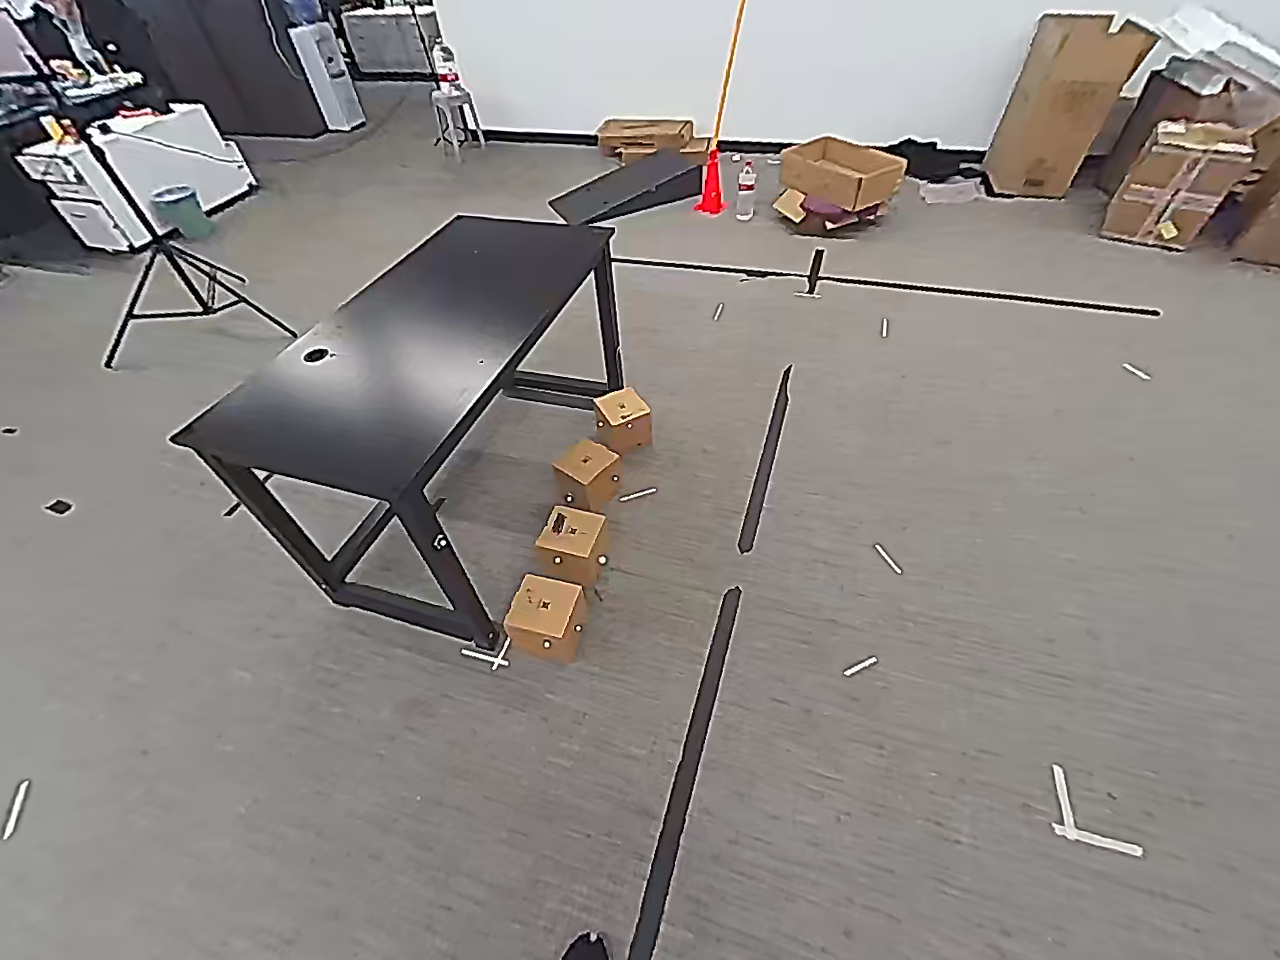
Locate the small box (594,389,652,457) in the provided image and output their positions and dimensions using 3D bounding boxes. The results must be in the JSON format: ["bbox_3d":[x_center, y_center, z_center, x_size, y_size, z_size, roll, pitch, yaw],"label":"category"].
[{"bbox_3d":[-0.065,-0.222,2.118,0.168,0.176,0.179,-24,51,-16],"label":"small box"}]

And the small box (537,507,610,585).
[{"bbox_3d":[-0.208,0.215,1.736,0.179,0.176,0.168,12,50,13],"label":"small box"}]

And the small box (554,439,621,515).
[{"bbox_3d":[-0.180,-0.008,1.937,0.168,0.176,0.179,29,57,28],"label":"small box"}]
